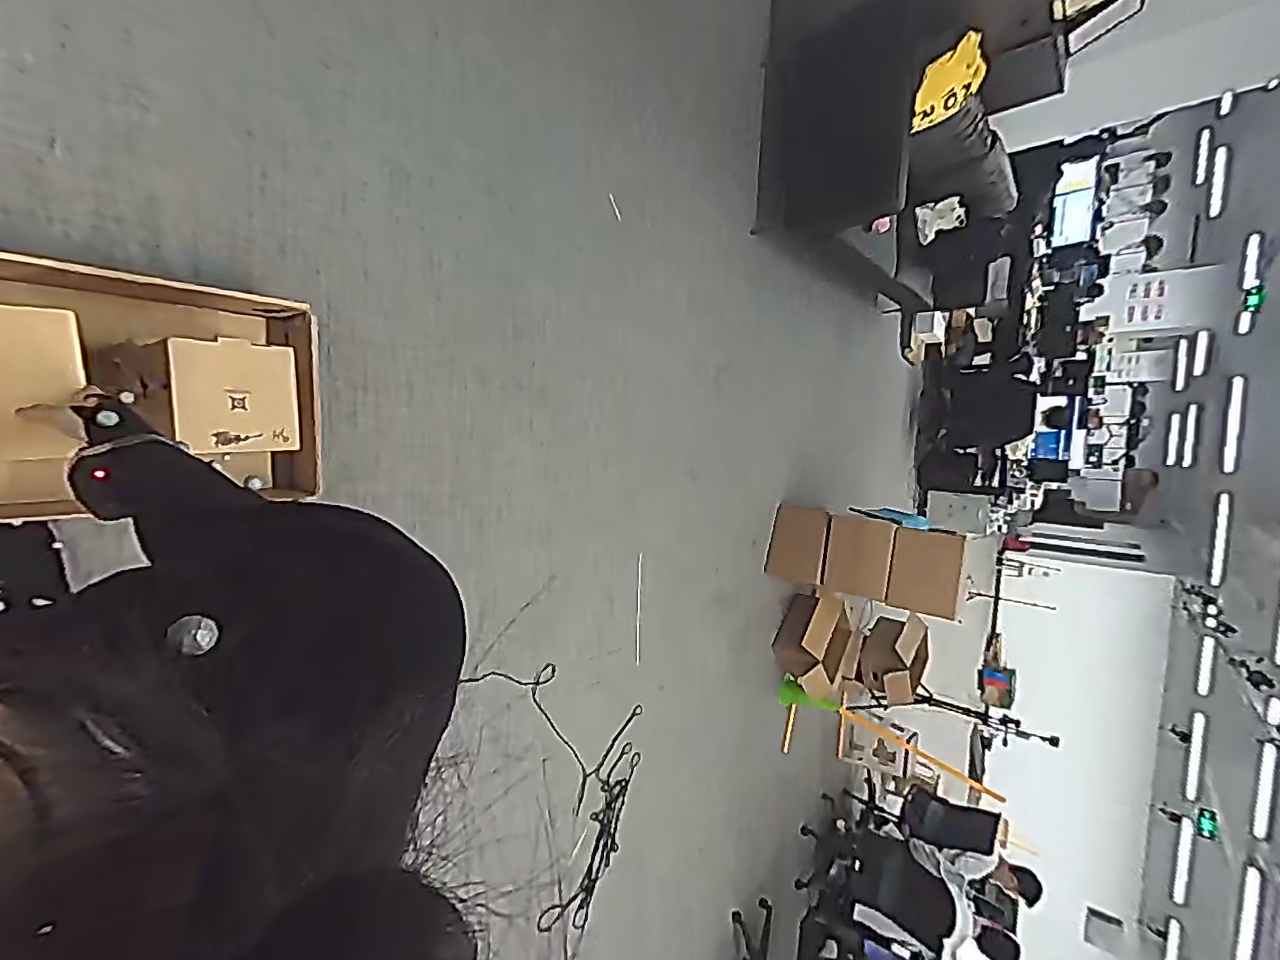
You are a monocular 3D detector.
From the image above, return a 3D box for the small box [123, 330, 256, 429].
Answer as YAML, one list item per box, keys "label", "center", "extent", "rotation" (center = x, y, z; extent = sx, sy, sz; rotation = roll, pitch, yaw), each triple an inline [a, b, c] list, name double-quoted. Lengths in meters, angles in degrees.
- label: "small box"
  center: [-0.829, -0.182, 1.005]
  extent: [0.179, 0.176, 0.168]
  rotation: [-12, 105, -48]

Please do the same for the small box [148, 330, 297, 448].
- label: "small box"
  center: [-0.701, -0.144, 0.907]
  extent: [0.168, 0.176, 0.179]
  rotation: [-6, 100, -49]

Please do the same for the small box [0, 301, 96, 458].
- label: "small box"
  center: [-0.747, -0.112, 0.596]
  extent: [0.179, 0.176, 0.168]
  rotation: [-11, 105, -50]
